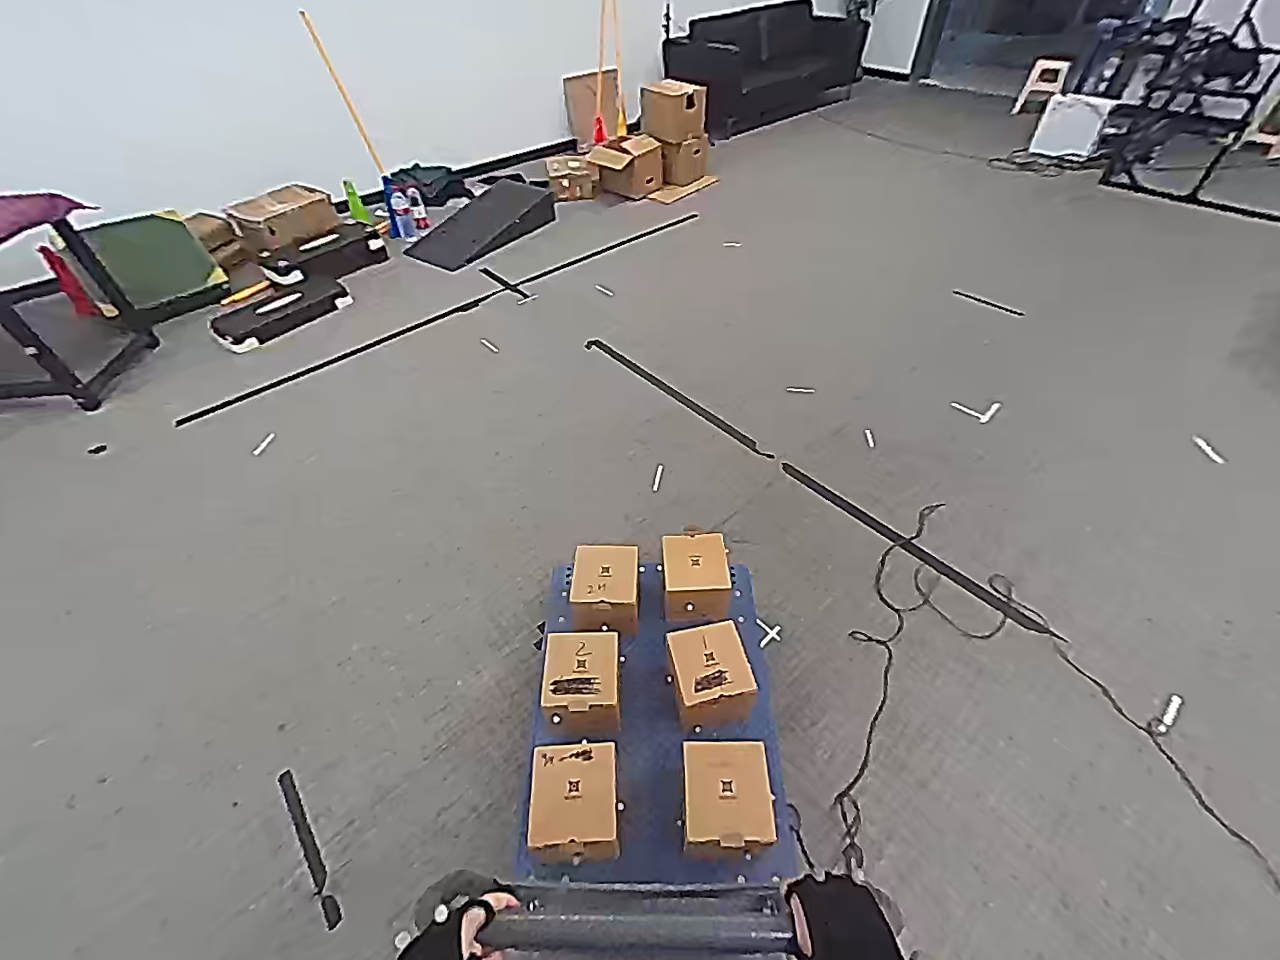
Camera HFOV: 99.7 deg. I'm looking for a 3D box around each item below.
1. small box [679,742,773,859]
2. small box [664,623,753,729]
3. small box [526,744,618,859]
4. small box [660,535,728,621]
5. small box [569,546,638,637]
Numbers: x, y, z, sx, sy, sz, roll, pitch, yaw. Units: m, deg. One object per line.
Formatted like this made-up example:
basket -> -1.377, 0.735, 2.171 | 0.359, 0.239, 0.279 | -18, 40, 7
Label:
small box -> 0.167, 0.656, 1.104 | 0.168, 0.176, 0.179 | 1, 46, 1
small box -> 0.156, 0.469, 1.281 | 0.168, 0.176, 0.179 | -9, 46, -7
small box -> -0.131, 0.660, 1.104 | 0.168, 0.176, 0.179 | -2, 47, -2
small box -> 0.141, 0.273, 1.470 | 0.168, 0.176, 0.179 | -2, 46, -1
small box -> -0.091, 0.299, 1.446 | 0.168, 0.176, 0.179 | 1, 47, 2
